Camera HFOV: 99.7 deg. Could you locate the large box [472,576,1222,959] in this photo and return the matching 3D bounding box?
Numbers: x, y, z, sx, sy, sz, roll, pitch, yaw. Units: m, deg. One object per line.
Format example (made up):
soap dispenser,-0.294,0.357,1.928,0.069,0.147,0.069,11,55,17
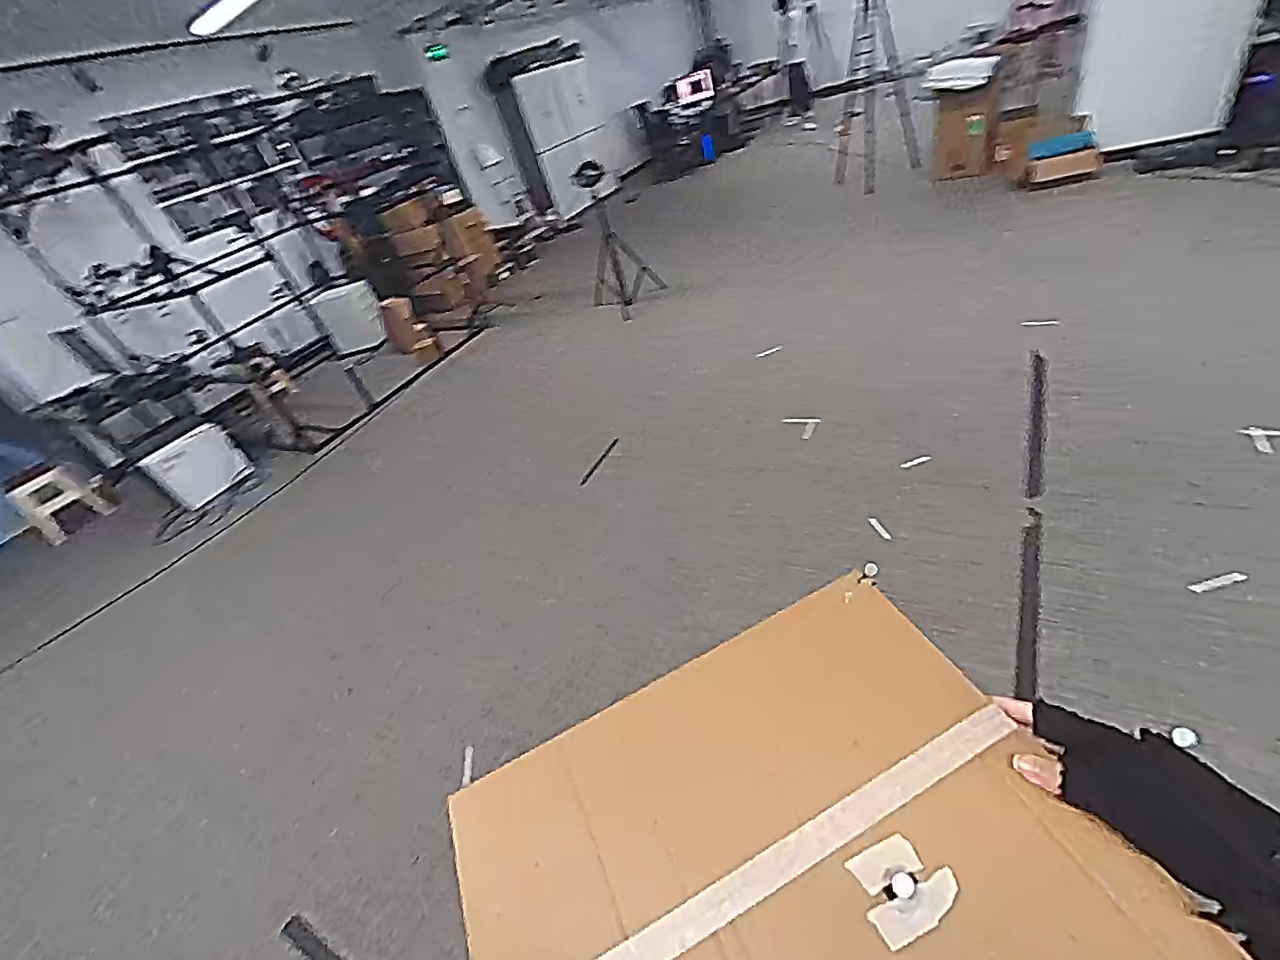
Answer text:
large box,0.125,0.367,0.478,0.408,0.320,0.320,-25,45,-10
